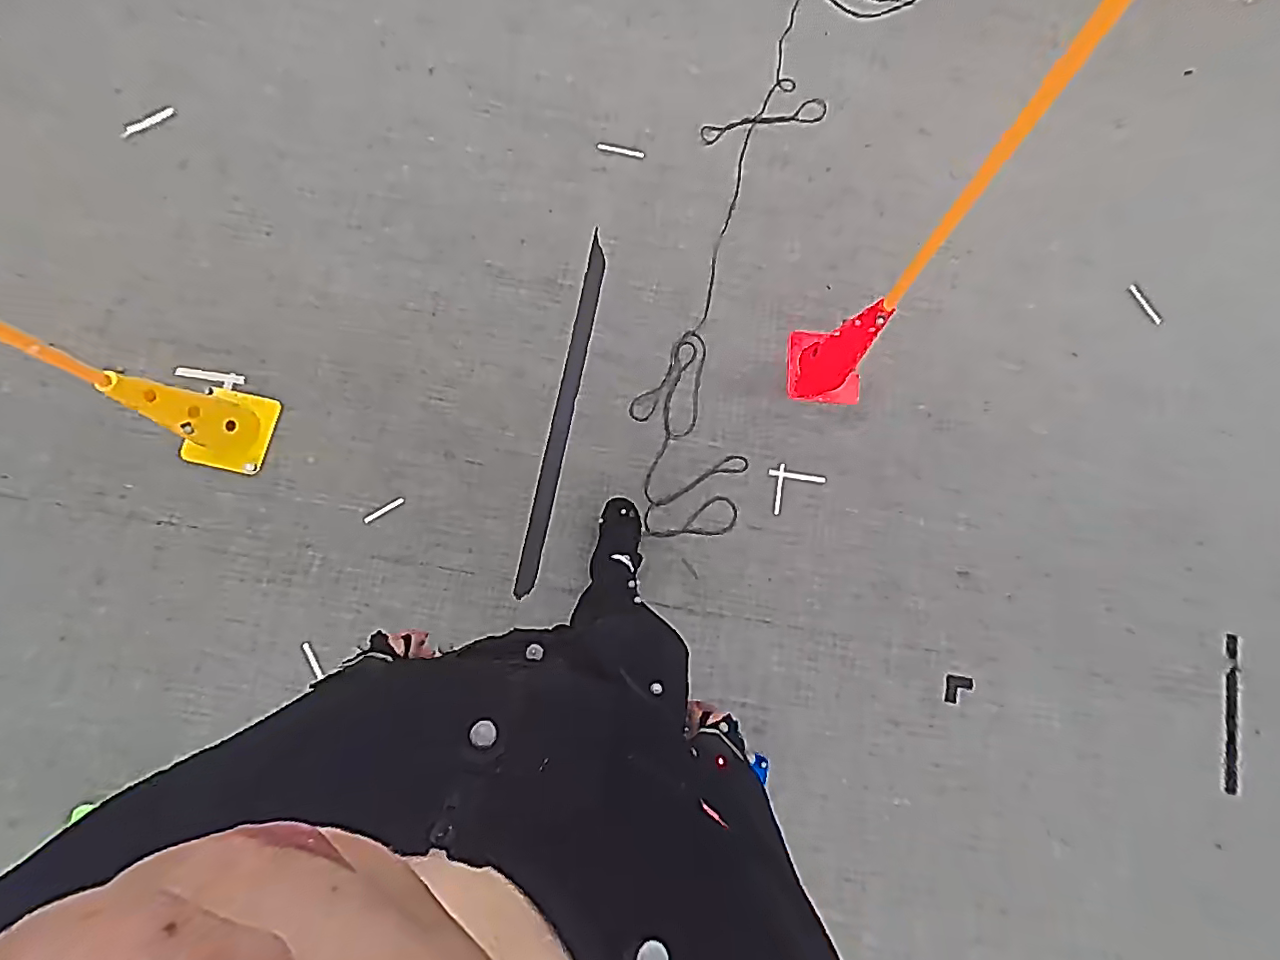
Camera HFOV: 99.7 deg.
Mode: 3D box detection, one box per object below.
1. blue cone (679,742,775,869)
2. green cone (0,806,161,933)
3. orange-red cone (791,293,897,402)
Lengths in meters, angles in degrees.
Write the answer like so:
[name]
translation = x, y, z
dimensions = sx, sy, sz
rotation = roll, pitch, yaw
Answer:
[blue cone]
translation = 0.205, 0.703, 1.119
dimensions = 0.193, 0.380, 0.192
rotation = 13, 79, -1
[green cone]
translation = -1.153, 0.788, 1.012
dimensions = 0.200, 0.368, 0.202
rotation = 0, 78, -3
[orange-red cone]
translation = 0.518, -0.345, 1.314
dimensions = 0.199, 0.360, 0.198
rotation = 6, 79, -1
